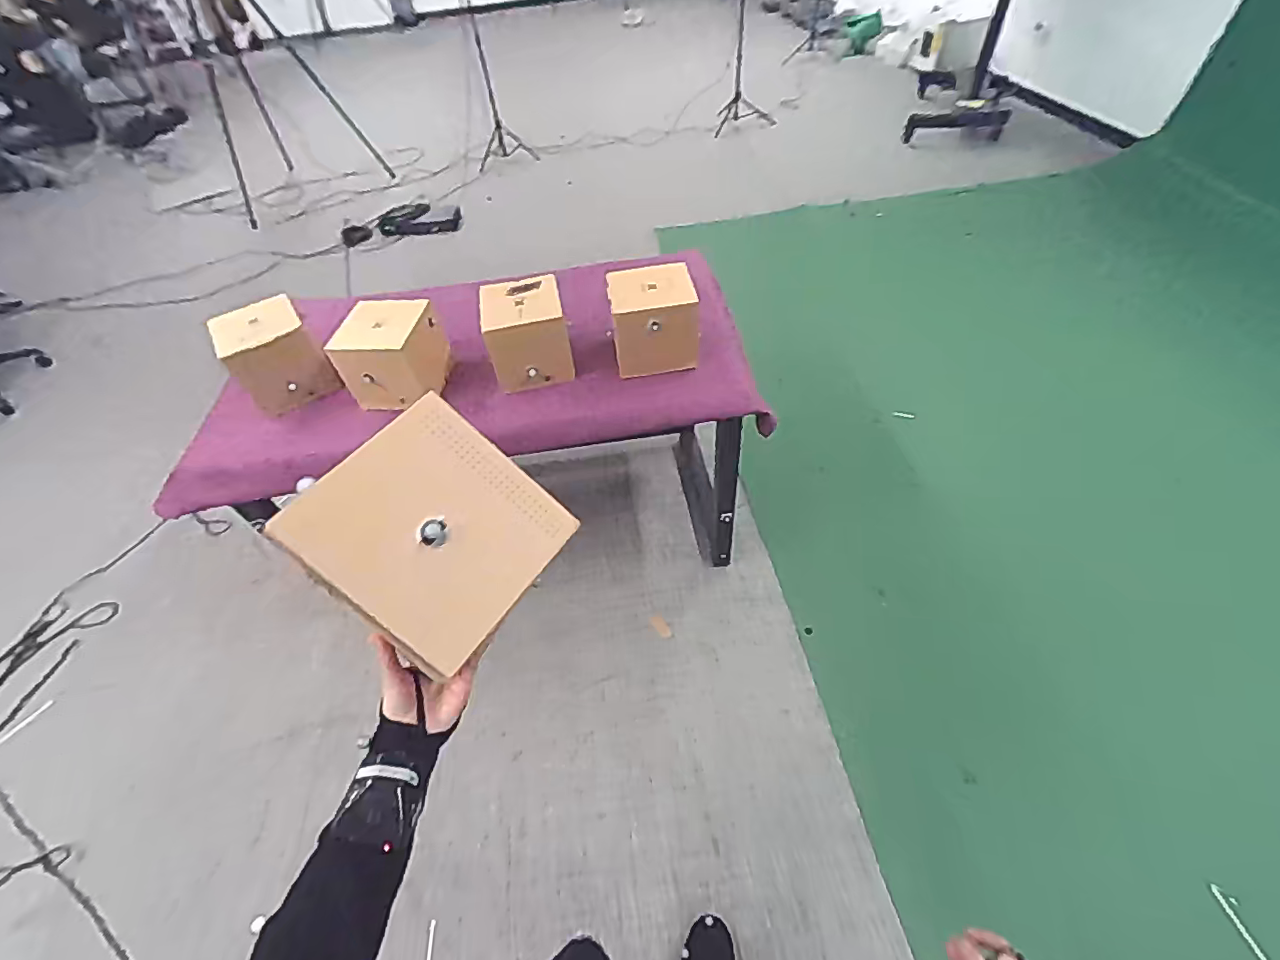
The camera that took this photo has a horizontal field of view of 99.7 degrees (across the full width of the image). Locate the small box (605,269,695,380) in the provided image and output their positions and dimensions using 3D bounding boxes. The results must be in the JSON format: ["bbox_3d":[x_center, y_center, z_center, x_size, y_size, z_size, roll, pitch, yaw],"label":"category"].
[{"bbox_3d":[0.024,-0.335,1.181,0.179,0.176,0.168,-7,49,-1],"label":"small box"}]

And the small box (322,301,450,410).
[{"bbox_3d":[-0.534,-0.265,1.169,0.168,0.176,0.179,1,49,6],"label":"small box"}]

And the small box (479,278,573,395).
[{"bbox_3d":[-0.248,-0.313,1.185,0.168,0.176,0.179,-11,50,-5],"label":"small box"}]

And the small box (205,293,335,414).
[{"bbox_3d":[-0.811,-0.277,1.195,0.168,0.176,0.179,-30,55,-19],"label":"small box"}]
